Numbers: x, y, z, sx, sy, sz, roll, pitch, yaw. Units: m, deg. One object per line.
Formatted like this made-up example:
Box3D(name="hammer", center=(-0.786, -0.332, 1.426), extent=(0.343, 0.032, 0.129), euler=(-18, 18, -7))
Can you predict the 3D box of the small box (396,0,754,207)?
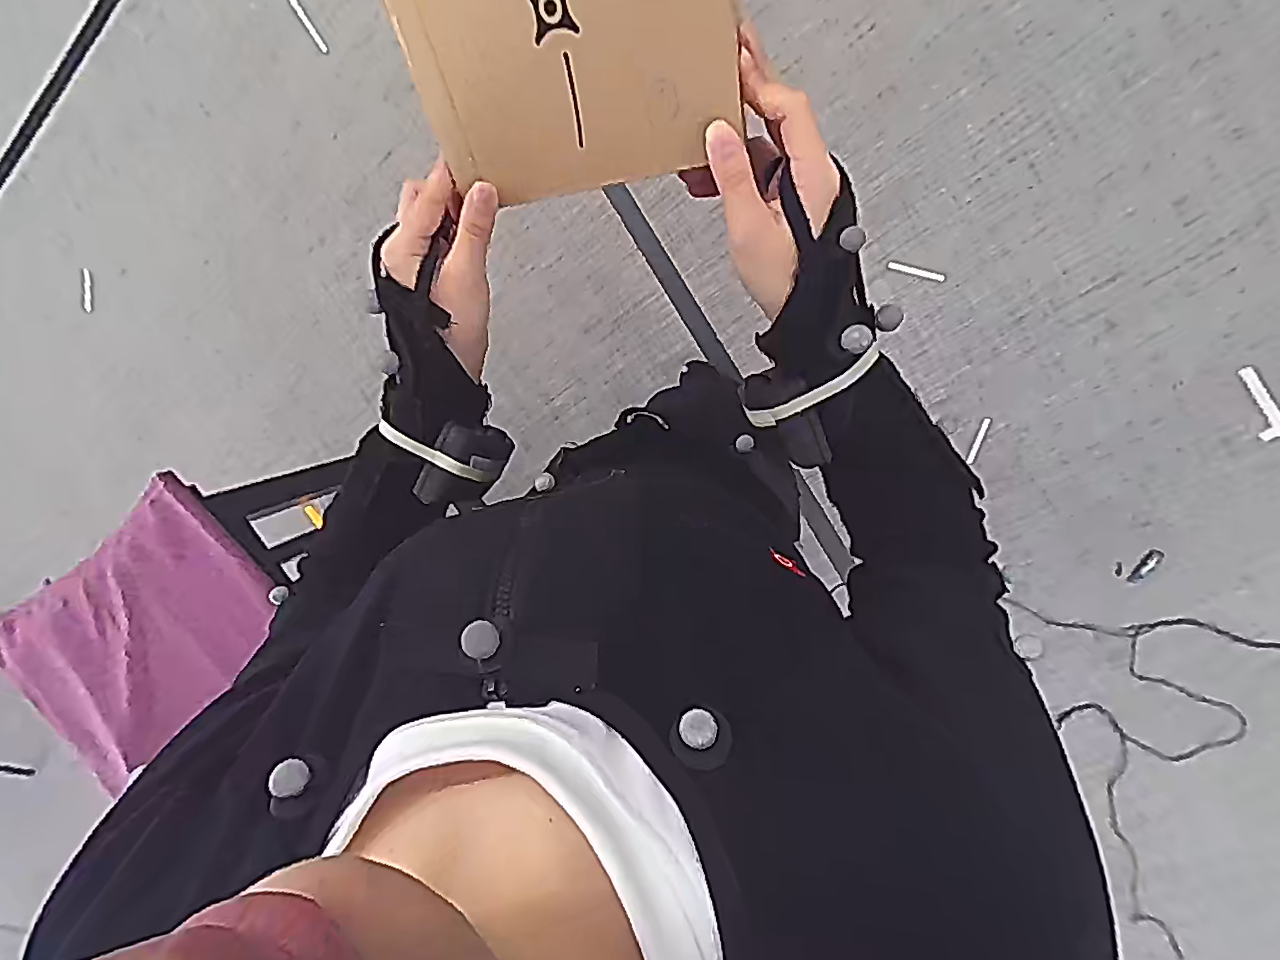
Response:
Box3D(name="small box", center=(-0.025, -0.282, 0.306), extent=(0.168, 0.176, 0.179), euler=(-3, 131, 15))
